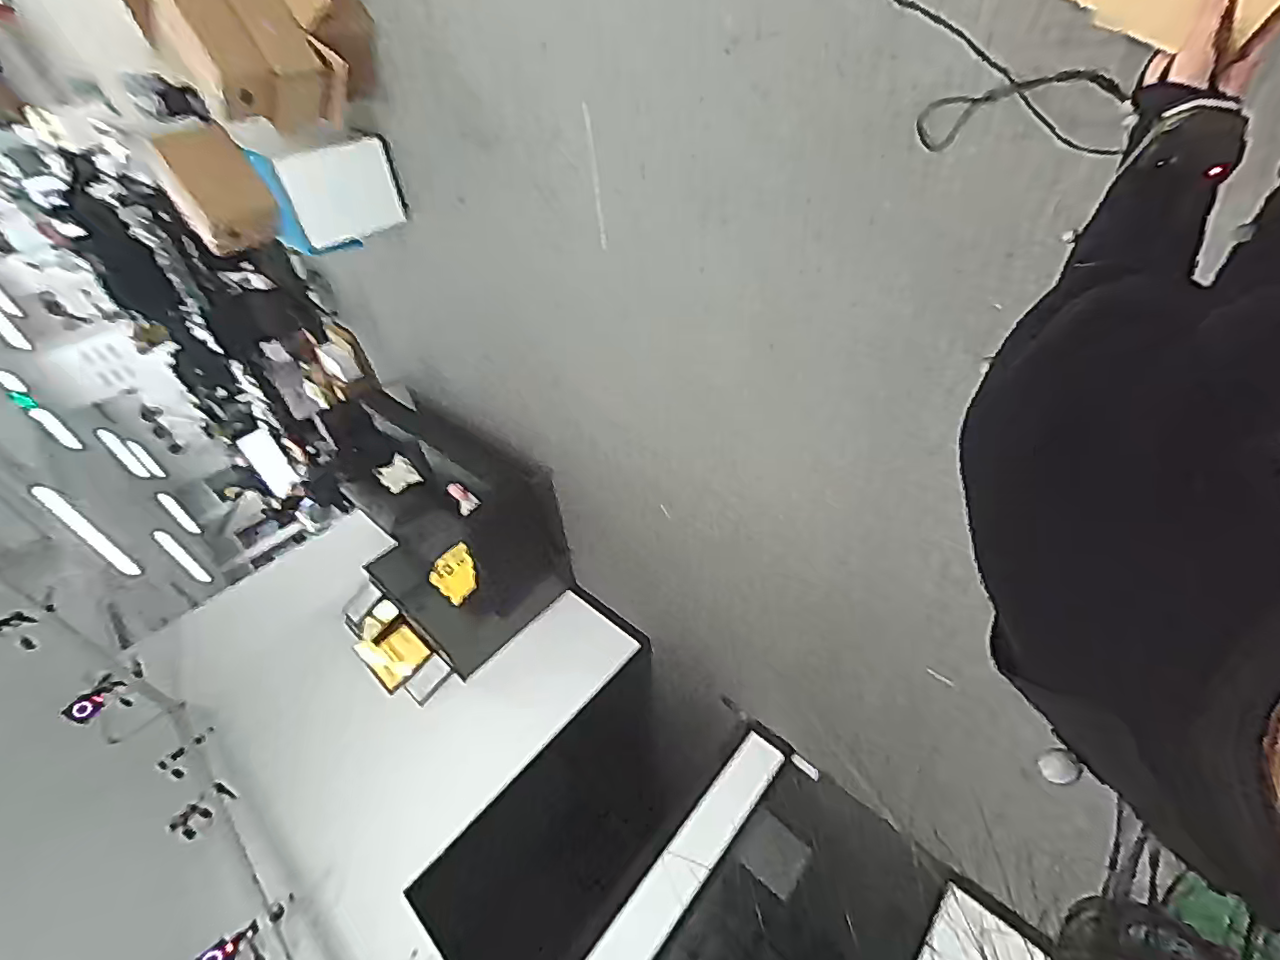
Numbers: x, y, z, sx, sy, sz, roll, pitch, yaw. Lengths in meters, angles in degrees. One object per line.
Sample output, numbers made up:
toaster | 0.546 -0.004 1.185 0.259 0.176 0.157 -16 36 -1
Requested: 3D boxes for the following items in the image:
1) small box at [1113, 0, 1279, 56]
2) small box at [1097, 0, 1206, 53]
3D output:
small box | 0.506 -0.497 0.416 0.168 0.176 0.179 48 172 16
small box | 0.841 -0.773 0.799 0.168 0.176 0.179 40 148 20
